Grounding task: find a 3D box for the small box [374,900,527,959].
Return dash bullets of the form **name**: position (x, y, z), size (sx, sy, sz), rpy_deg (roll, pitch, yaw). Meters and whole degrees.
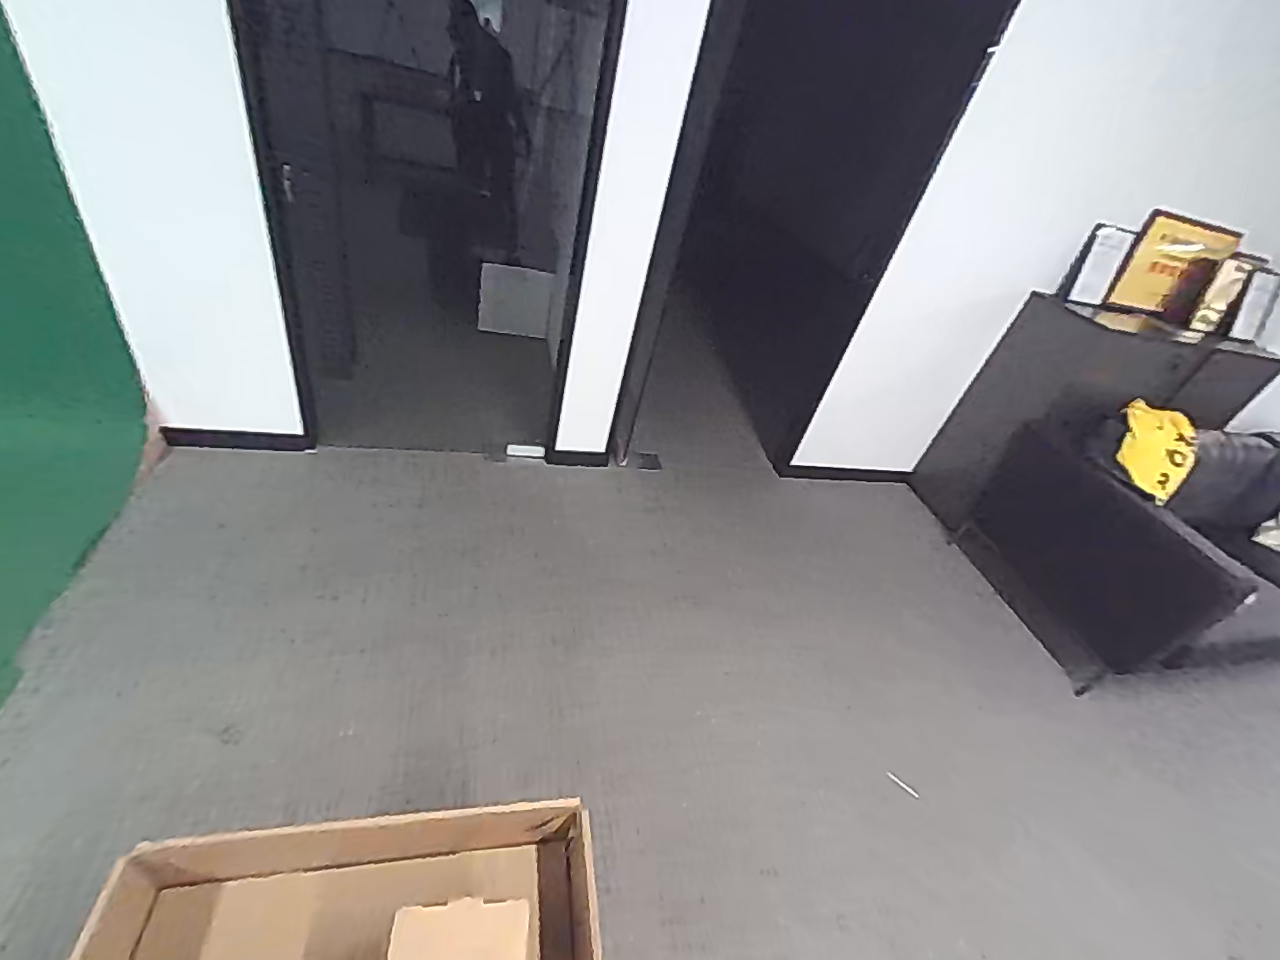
- **small box**: position (-0.244, 0.640, 0.658), size (0.168, 0.176, 0.179), rpy_deg (13, 40, -19)
